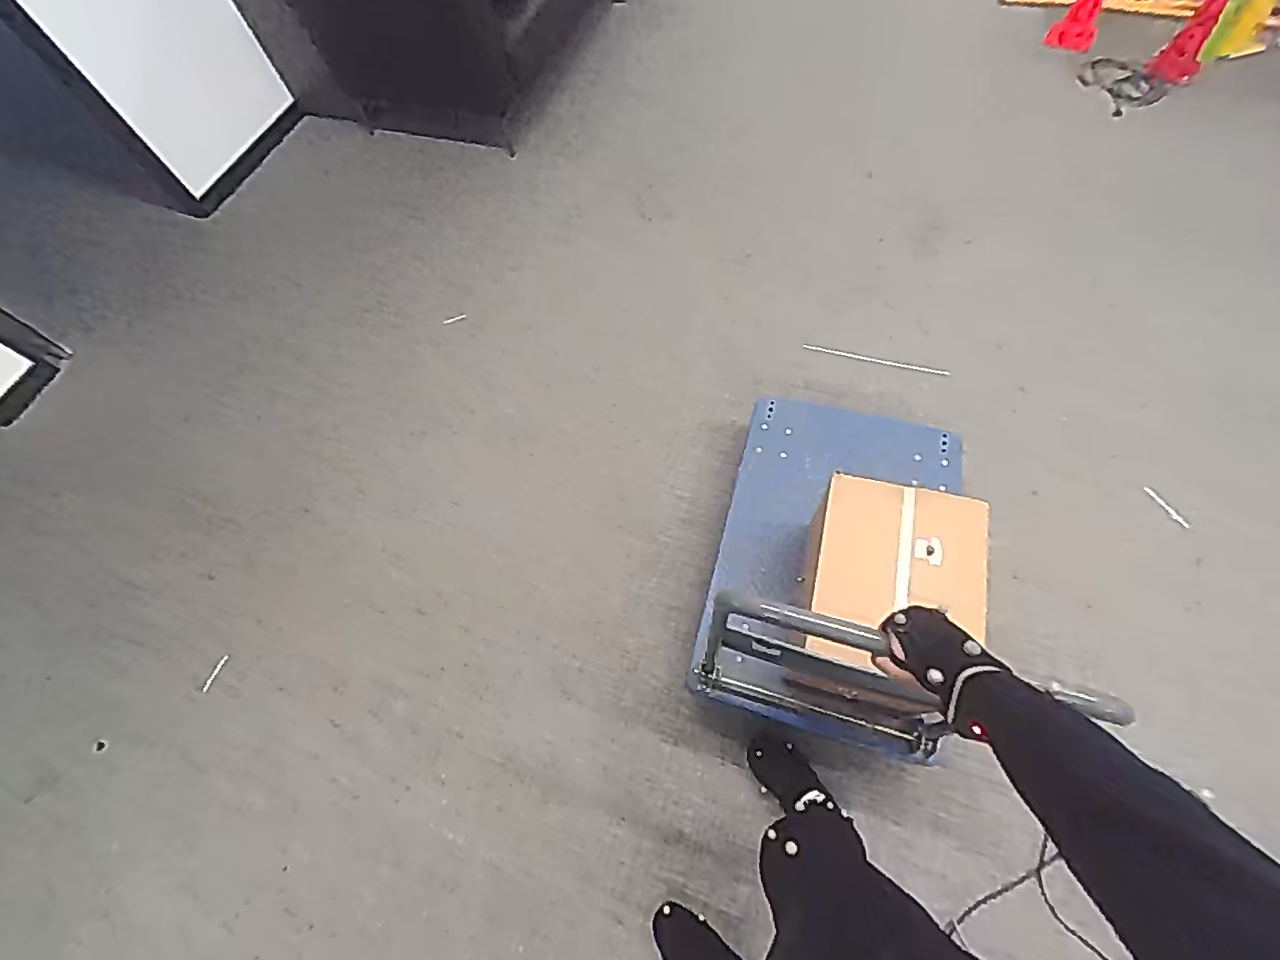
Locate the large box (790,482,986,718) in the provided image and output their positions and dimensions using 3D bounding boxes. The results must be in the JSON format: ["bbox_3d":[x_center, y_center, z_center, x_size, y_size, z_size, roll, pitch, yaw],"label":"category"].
[{"bbox_3d":[0.531,0.272,1.198,0.320,0.320,0.408,12,65,12],"label":"large box"}]
